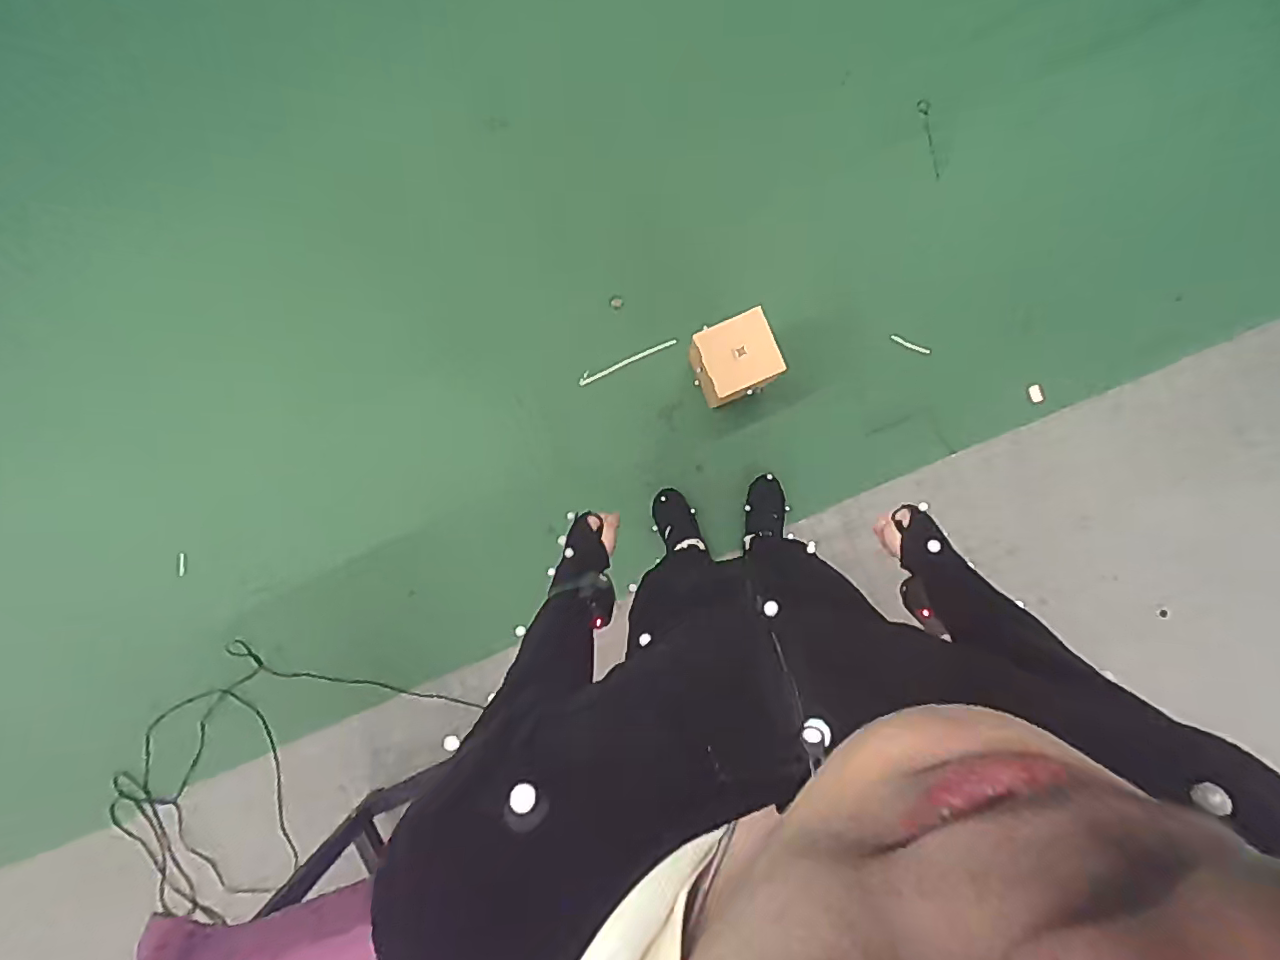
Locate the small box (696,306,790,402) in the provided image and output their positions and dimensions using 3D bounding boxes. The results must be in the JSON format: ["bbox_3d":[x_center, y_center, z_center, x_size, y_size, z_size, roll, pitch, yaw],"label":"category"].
[{"bbox_3d":[0.249,-0.307,1.352,0.179,0.176,0.168,-23,91,6],"label":"small box"}]

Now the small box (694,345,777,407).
[{"bbox_3d":[0.261,-0.316,1.514,0.179,0.176,0.168,-22,90,5],"label":"small box"}]
